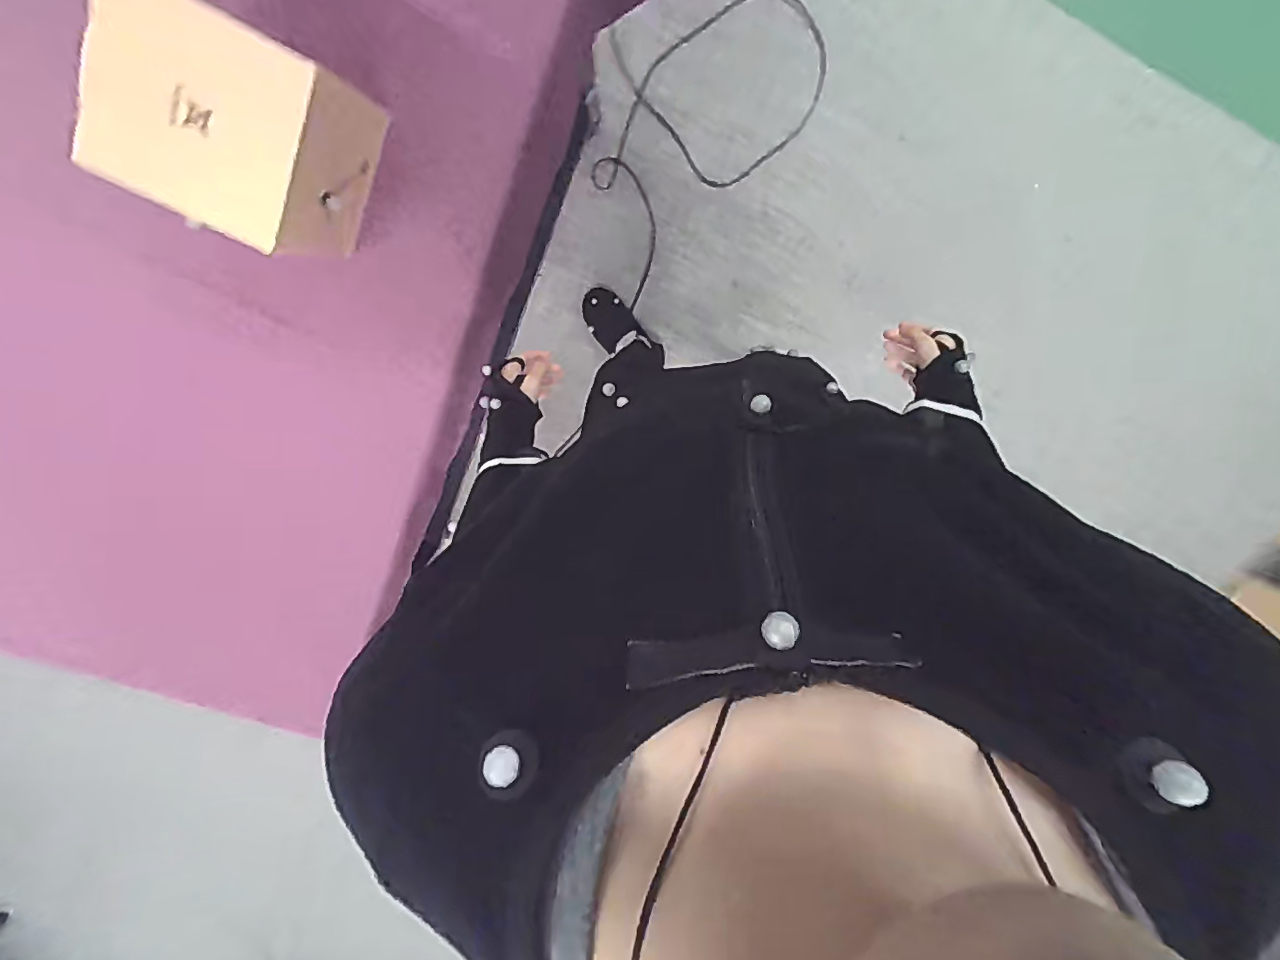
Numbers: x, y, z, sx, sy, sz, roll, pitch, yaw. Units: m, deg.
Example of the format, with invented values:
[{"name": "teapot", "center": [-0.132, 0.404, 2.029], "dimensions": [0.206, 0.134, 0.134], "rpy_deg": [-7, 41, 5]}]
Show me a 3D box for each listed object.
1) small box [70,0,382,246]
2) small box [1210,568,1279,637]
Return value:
[{"name": "small box", "center": [-0.388, -0.351, 0.537], "dimensions": [0.179, 0.176, 0.168], "rpy_deg": [24, 108, -10]}, {"name": "small box", "center": [1.983, 0.404, 1.698], "dimensions": [0.179, 0.176, 0.168], "rpy_deg": [30, 106, -12]}]
